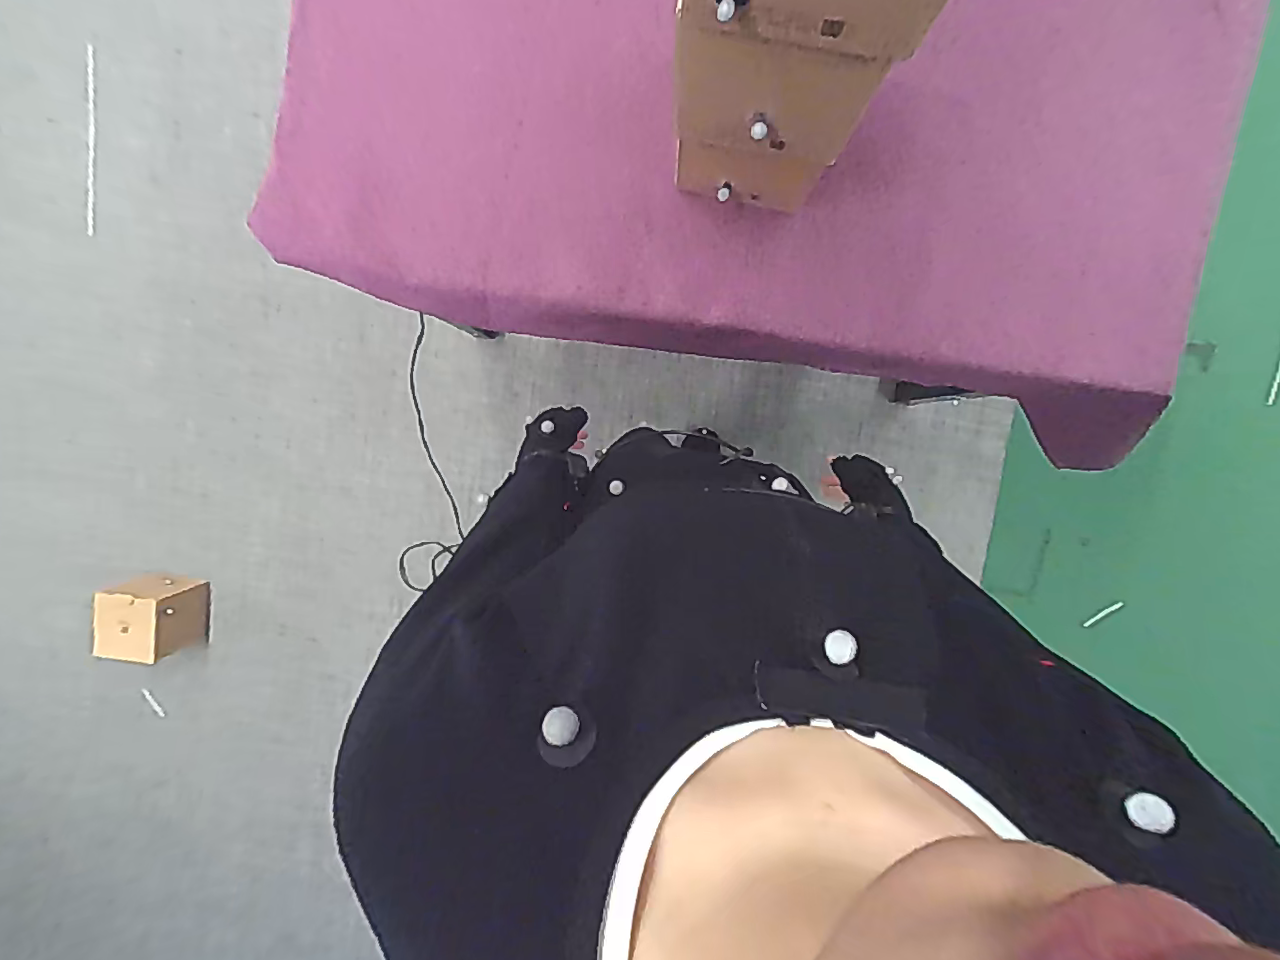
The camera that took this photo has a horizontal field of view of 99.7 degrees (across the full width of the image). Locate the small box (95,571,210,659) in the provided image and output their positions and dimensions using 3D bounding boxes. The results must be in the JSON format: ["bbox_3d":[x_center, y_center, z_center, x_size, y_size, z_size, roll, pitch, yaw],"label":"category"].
[{"bbox_3d":[-1.322,0.363,1.475,0.168,0.176,0.179,7,95,1],"label":"small box"}]

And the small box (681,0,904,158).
[{"bbox_3d":[0.129,-0.416,0.459,0.168,0.176,0.179,11,96,2],"label":"small box"}]

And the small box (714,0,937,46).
[{"bbox_3d":[0.125,-0.392,0.296,0.168,0.176,0.179,12,94,2],"label":"small box"}]

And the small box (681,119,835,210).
[{"bbox_3d":[0.144,-0.444,0.620,0.168,0.176,0.179,13,96,2],"label":"small box"}]
